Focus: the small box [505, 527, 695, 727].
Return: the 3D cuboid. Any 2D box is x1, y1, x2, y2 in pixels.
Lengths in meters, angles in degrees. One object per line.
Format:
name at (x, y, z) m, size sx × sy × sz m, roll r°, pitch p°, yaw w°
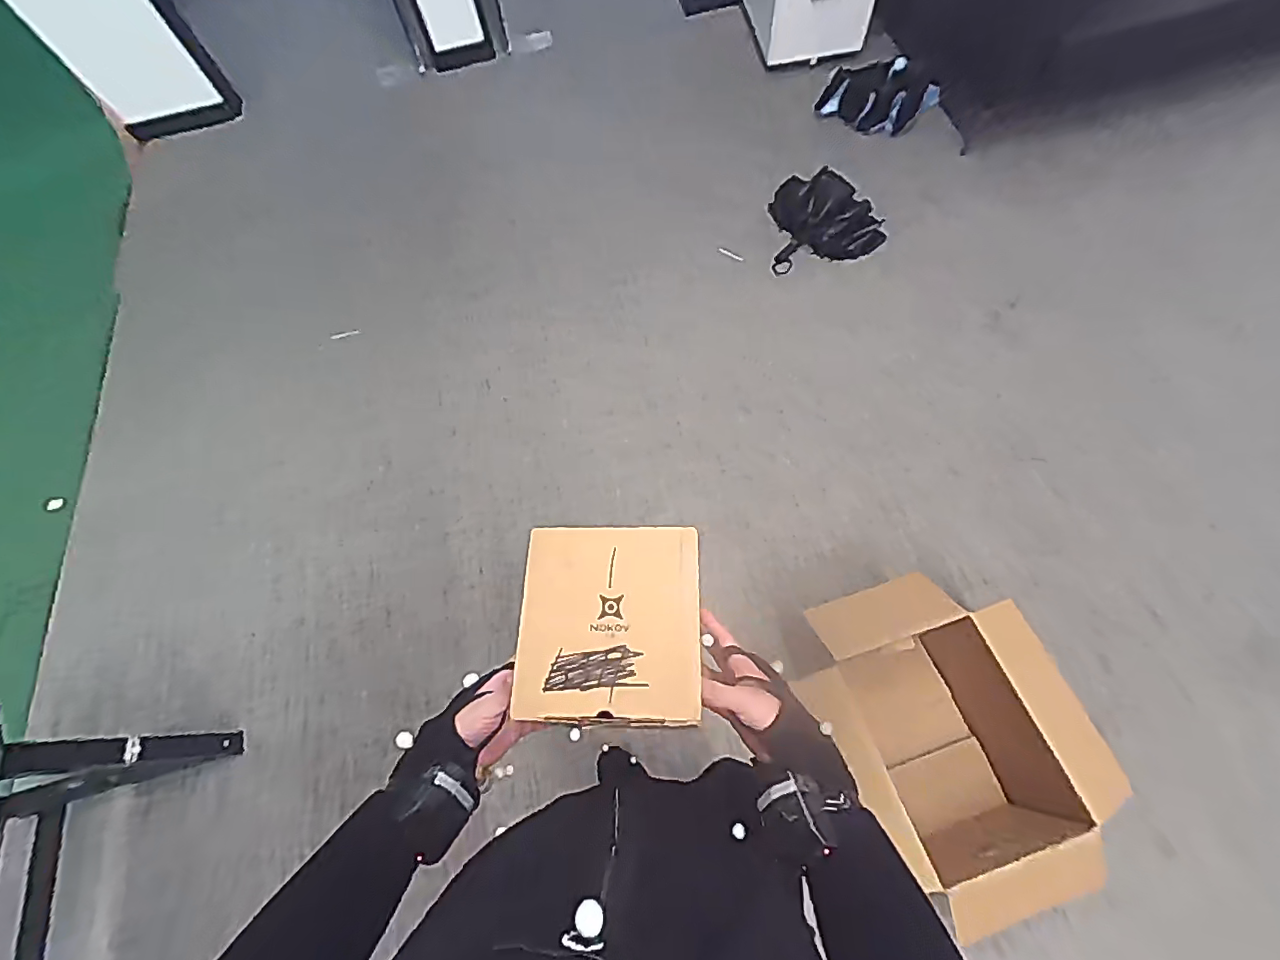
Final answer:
small box at (-0.026, 0.159, 0.561) m, size 0.168 × 0.176 × 0.179 m, roll -1°, pitch 64°, yaw 4°
